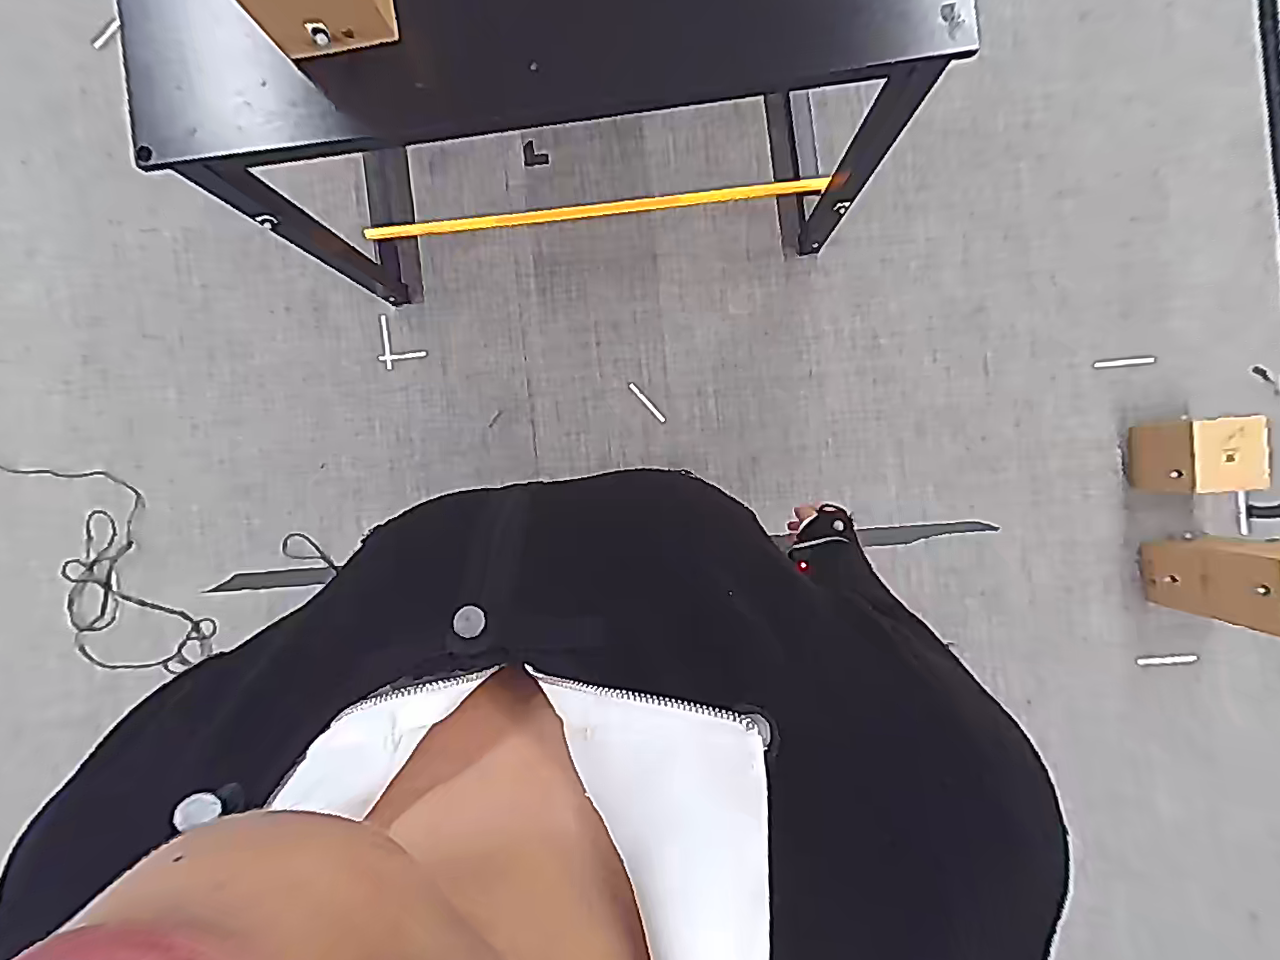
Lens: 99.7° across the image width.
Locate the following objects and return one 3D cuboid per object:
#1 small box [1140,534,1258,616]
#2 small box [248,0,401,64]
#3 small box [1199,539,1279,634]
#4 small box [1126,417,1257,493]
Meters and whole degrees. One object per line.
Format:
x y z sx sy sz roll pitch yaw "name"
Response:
1.419 0.234 1.368 0.179 0.176 0.168 -8 91 3 "small box"
-0.438 -0.700 0.704 0.168 0.176 0.179 -9 91 3 "small box"
1.408 0.231 1.202 0.168 0.176 0.179 -8 91 3 "small box"
1.378 -0.062 1.362 0.168 0.176 0.179 -4 90 2 "small box"
